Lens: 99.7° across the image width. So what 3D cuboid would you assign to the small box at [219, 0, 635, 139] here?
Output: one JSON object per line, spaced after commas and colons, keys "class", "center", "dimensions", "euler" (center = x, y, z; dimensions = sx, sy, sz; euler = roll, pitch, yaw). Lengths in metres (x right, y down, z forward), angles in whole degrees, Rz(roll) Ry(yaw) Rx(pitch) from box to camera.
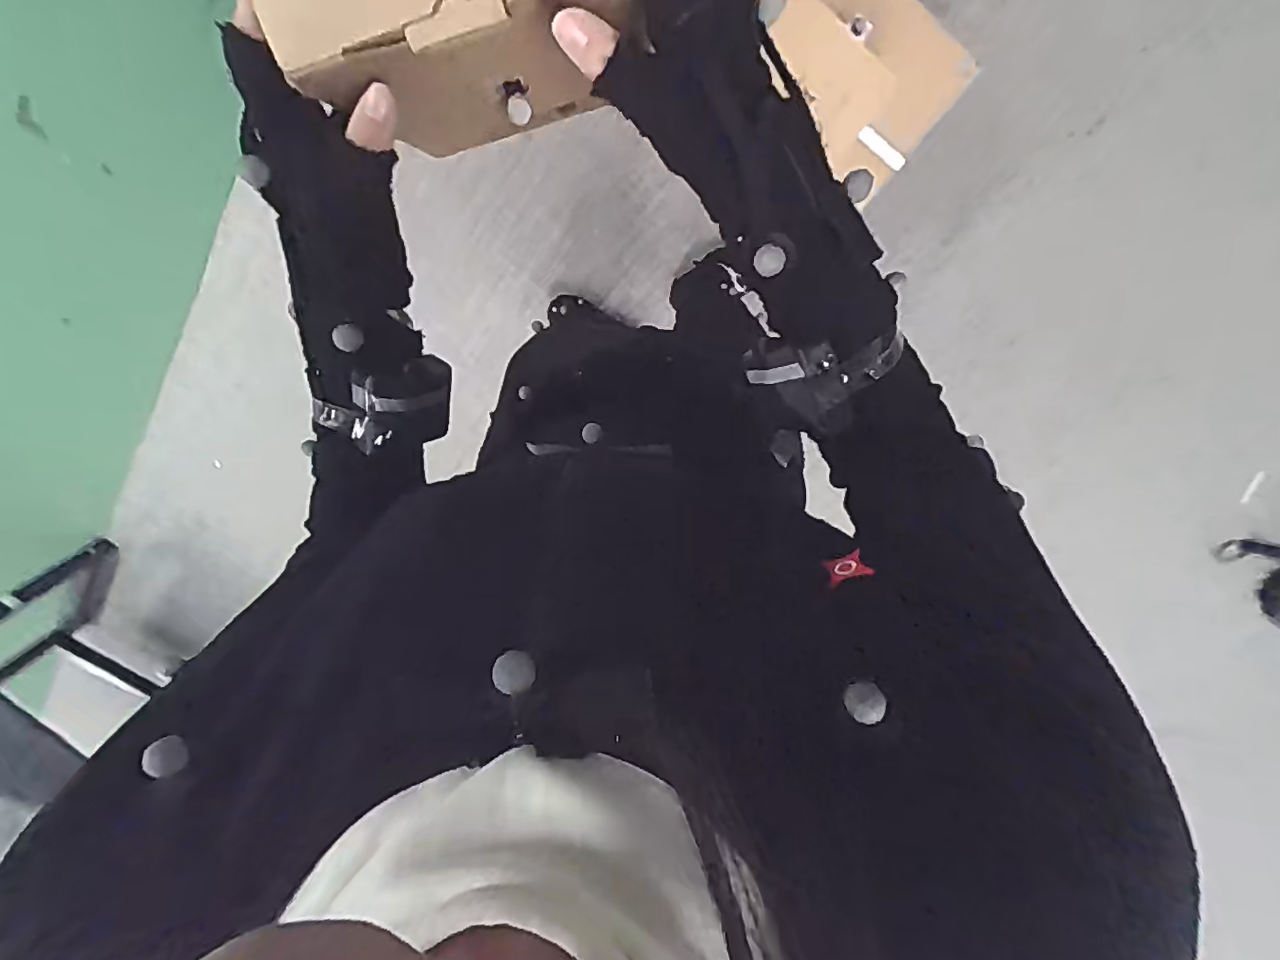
{"class": "small box", "center": [-0.104, -0.295, 0.270], "dimensions": [0.168, 0.176, 0.179], "euler": [-12, 110, 9]}
